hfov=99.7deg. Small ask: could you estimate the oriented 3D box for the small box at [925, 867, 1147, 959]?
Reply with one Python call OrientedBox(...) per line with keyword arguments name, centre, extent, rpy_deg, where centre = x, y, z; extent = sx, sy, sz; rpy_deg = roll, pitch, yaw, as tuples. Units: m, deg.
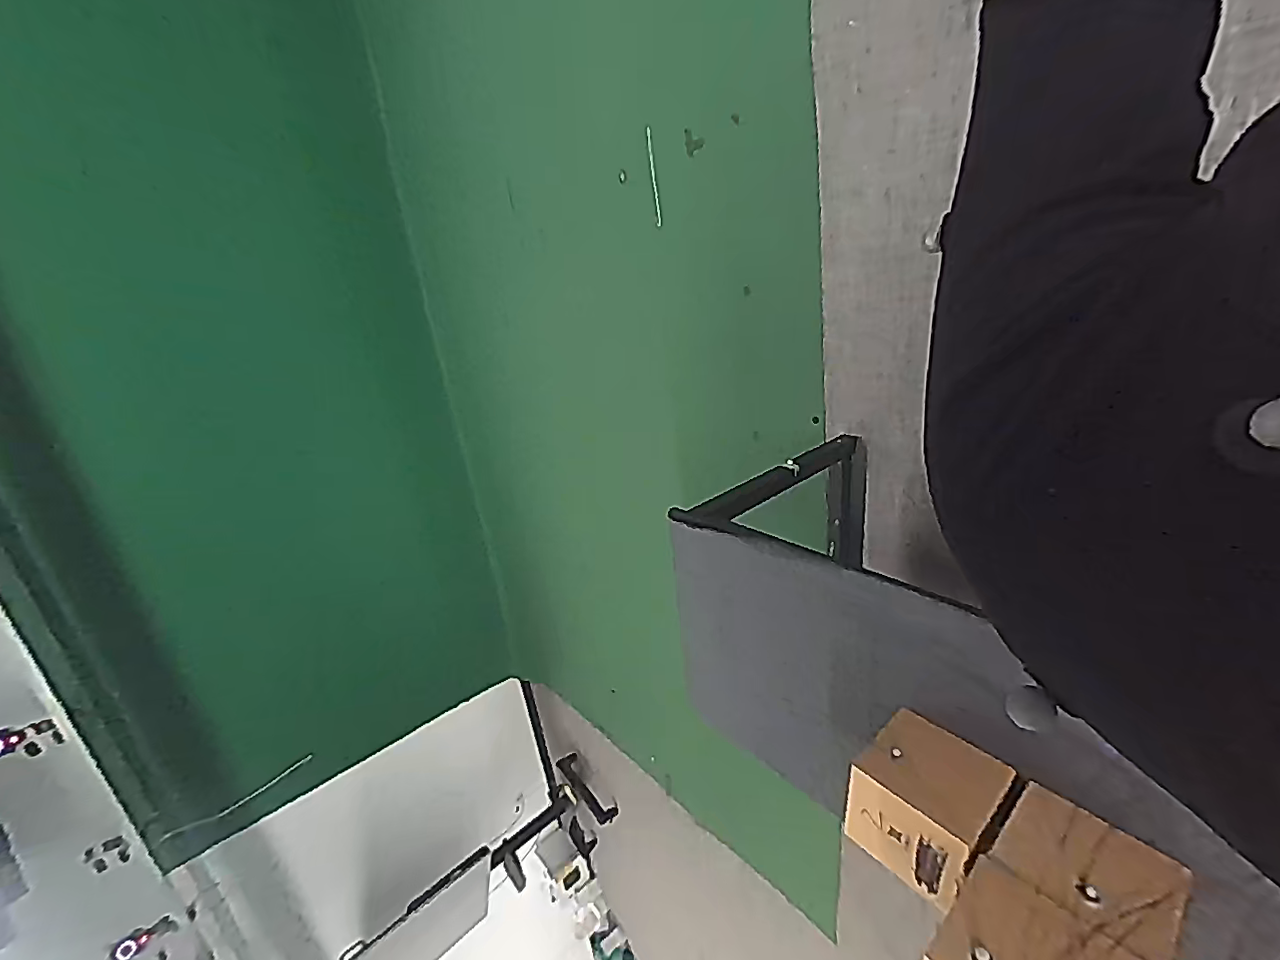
OrientedBox(name="small box", centre=(0.448, 0.599, 0.623), extent=(0.179, 0.176, 0.168), rpy_deg=(19, 122, 47))
